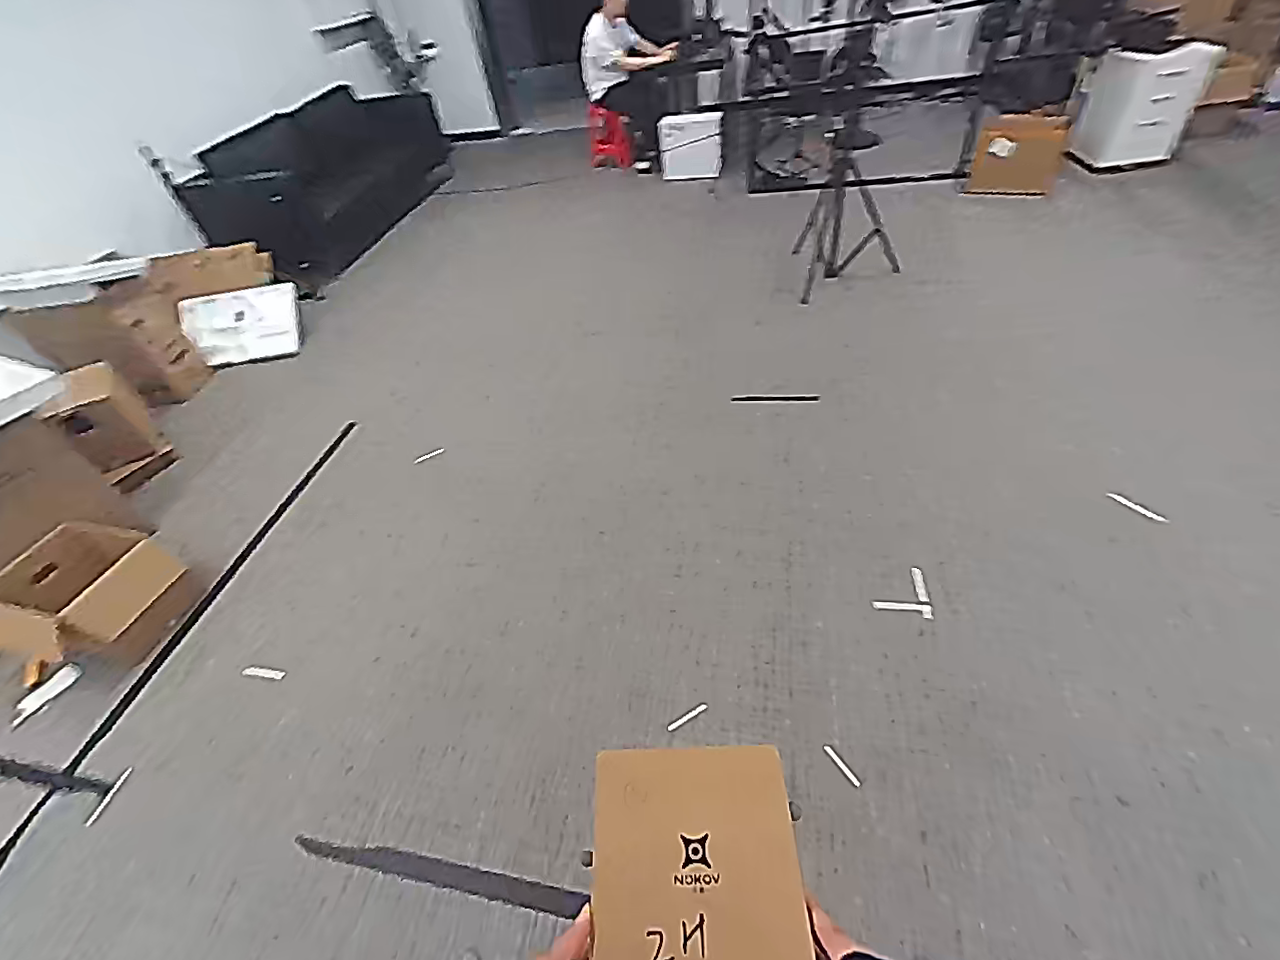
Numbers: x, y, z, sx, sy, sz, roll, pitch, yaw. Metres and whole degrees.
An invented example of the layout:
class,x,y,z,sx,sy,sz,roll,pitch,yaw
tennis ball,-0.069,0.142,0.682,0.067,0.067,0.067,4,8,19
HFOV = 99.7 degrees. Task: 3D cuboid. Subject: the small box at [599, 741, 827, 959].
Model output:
class,x,y,z,sx,sy,sz,roll,pitch,yaw
small box,0.055,0.352,0.483,0.168,0.176,0.179,-2,49,2
